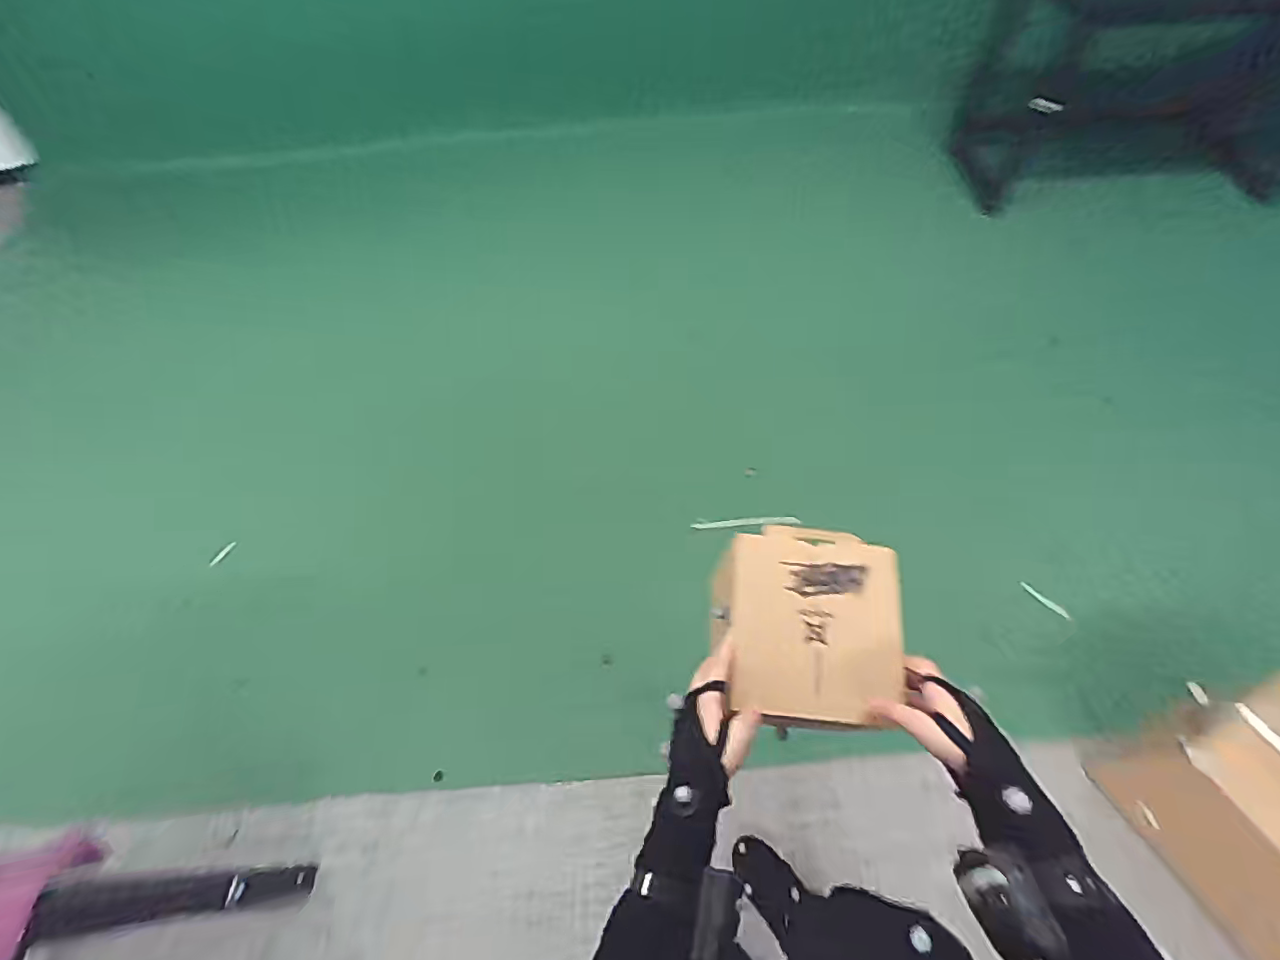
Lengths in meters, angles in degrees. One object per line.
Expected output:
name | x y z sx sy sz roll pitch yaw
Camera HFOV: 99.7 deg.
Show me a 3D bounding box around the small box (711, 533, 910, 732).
small box | 0.175 0.178 0.608 0.168 0.176 0.179 6 64 2
